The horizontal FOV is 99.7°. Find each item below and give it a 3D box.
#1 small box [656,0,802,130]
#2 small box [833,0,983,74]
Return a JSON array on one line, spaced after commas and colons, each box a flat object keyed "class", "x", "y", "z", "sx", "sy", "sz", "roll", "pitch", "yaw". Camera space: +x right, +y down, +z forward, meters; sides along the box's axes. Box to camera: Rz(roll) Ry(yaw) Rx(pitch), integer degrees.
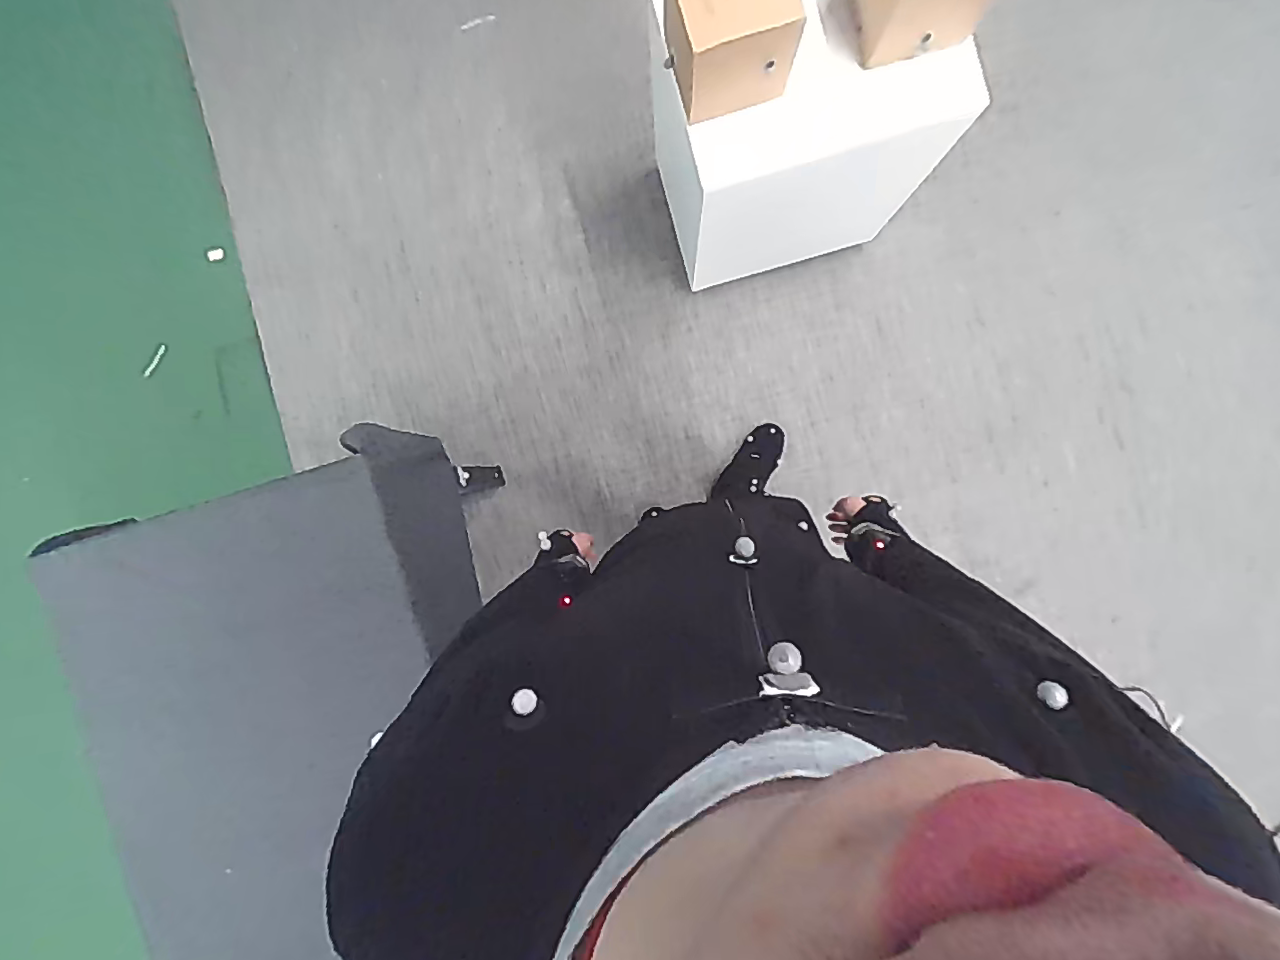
[{"class": "small box", "x": 0.129, "y": -0.707, "z": 0.859, "sx": 0.179, "sy": 0.176, "sz": 0.168, "roll": -18, "pitch": 88, "yaw": 1}, {"class": "small box", "x": 0.430, "y": -0.794, "z": 0.852, "sx": 0.179, "sy": 0.176, "sz": 0.168, "roll": -15, "pitch": 90, "yaw": 1}]
